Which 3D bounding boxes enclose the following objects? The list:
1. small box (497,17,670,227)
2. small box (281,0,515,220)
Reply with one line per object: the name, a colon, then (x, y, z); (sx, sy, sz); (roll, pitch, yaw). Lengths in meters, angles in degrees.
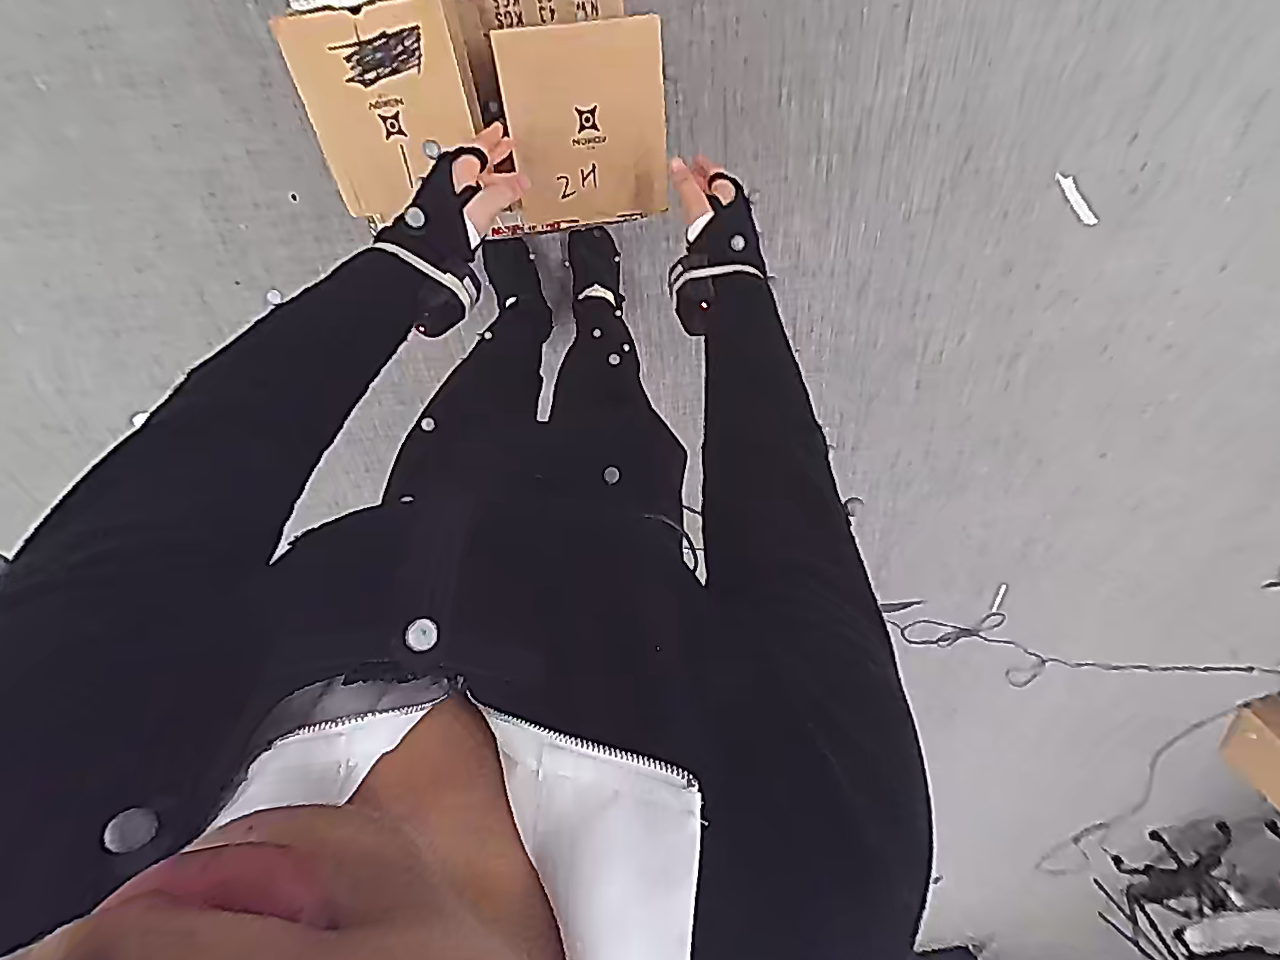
small box: (-0.059, -0.412, 0.632); (0.168, 0.176, 0.179); (-6, 126, 0)
small box: (-0.252, -0.417, 0.617); (0.168, 0.176, 0.179); (-7, 128, 3)
